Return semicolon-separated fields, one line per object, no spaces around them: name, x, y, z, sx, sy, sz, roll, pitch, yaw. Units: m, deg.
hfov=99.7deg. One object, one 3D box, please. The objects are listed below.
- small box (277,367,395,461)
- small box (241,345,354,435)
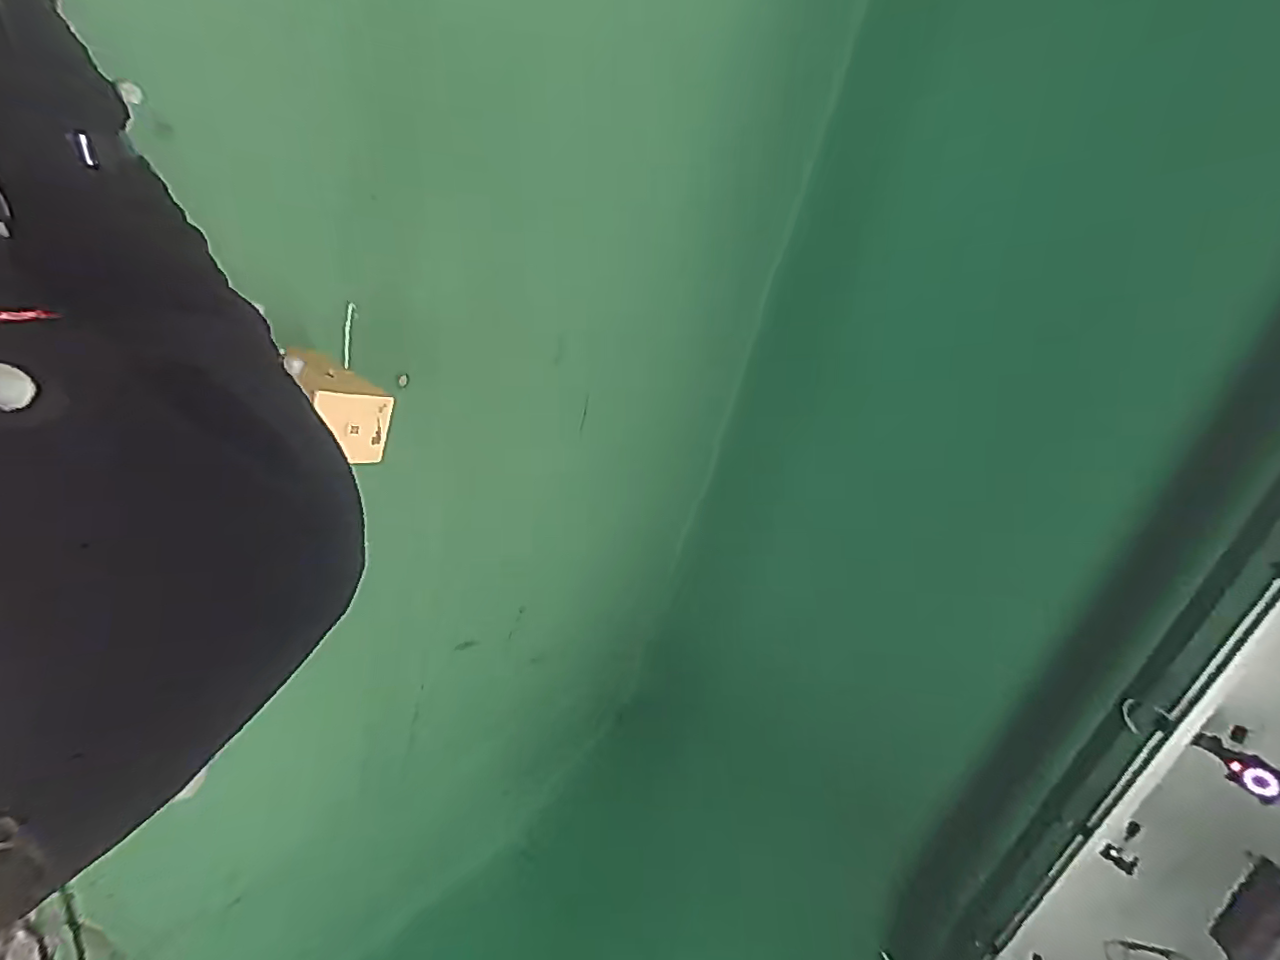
small box;-0.697;-0.150;1.230;0.179;0.176;0.168;-5;119;-56
small box;-0.814;-0.211;1.290;0.179;0.176;0.168;-4;120;-58
